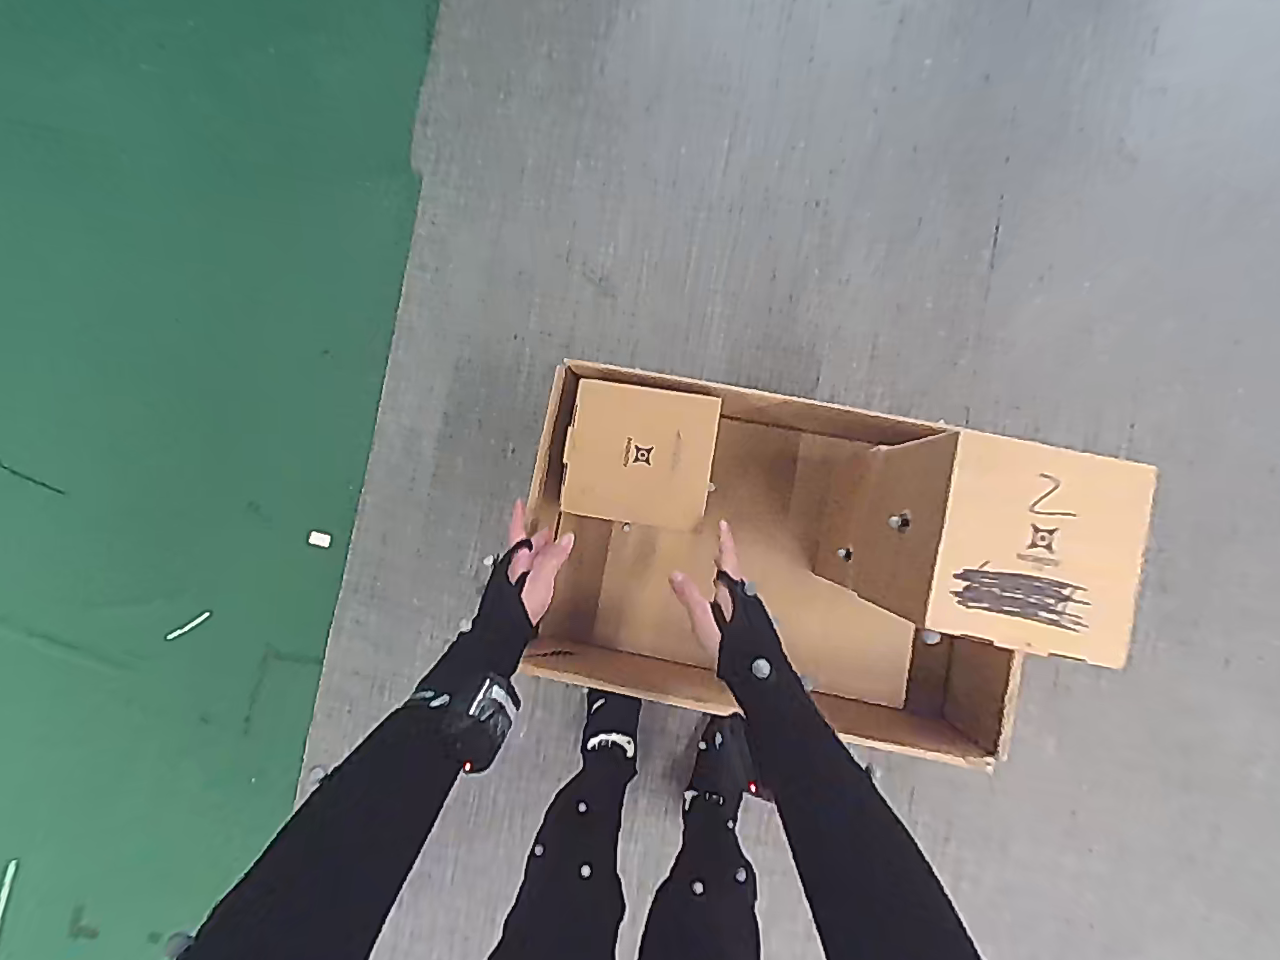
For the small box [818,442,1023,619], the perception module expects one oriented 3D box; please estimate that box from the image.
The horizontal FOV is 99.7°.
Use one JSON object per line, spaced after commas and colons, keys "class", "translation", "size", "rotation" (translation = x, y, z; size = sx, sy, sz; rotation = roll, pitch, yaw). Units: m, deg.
{"class": "small box", "translation": [0.344, 0.060, 0.697], "size": [0.168, 0.176, 0.179], "rotation": [12, 89, 3]}
